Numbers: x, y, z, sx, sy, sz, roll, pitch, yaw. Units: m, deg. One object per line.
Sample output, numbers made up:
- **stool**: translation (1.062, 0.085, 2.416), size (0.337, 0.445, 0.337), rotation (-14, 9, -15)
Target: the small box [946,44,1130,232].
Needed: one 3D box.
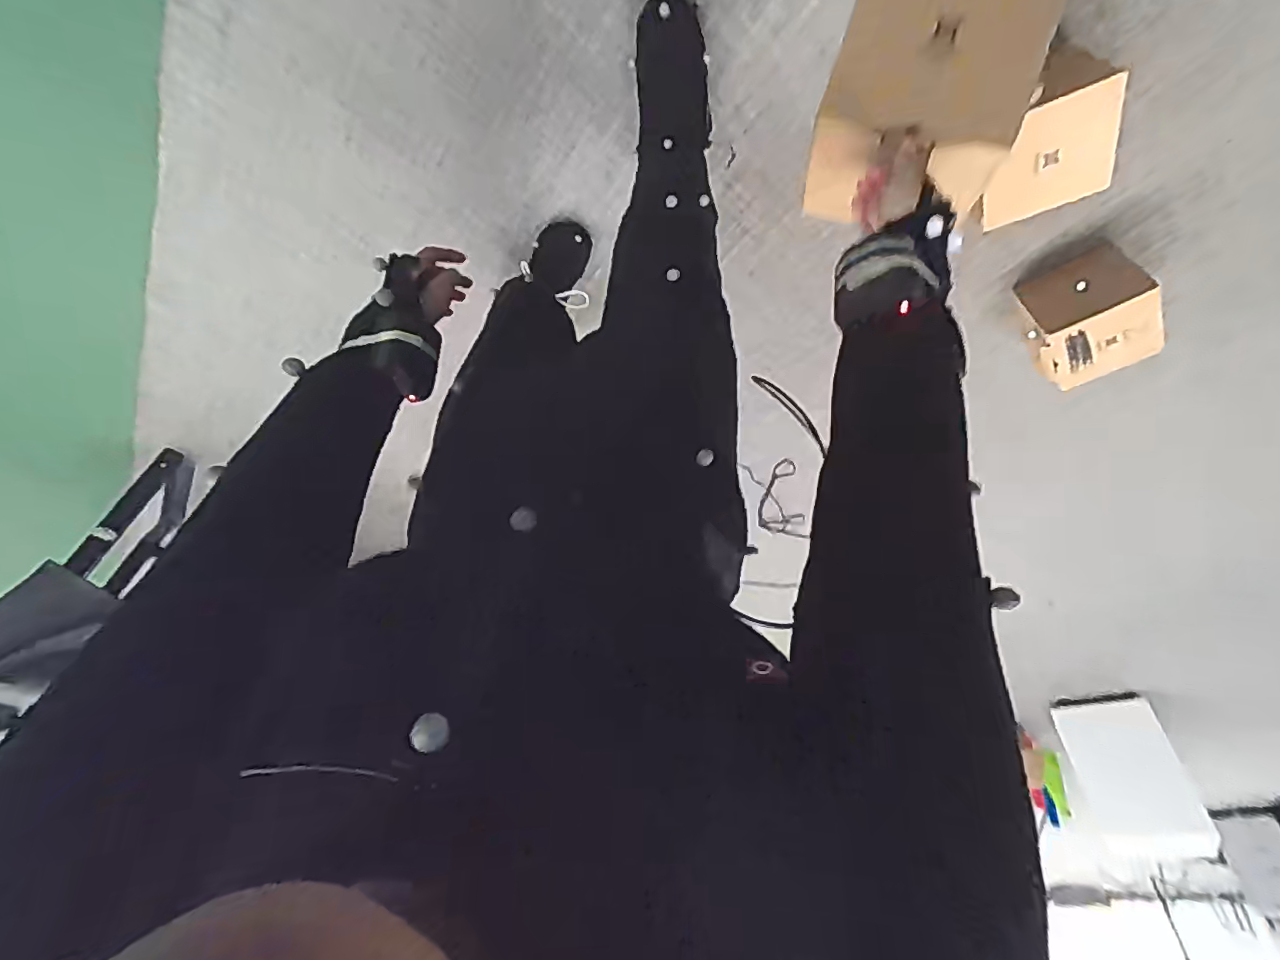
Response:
- **small box**: translation (0.602, -0.531, 0.842), size (0.179, 0.176, 0.168), rotation (-15, 137, 22)
